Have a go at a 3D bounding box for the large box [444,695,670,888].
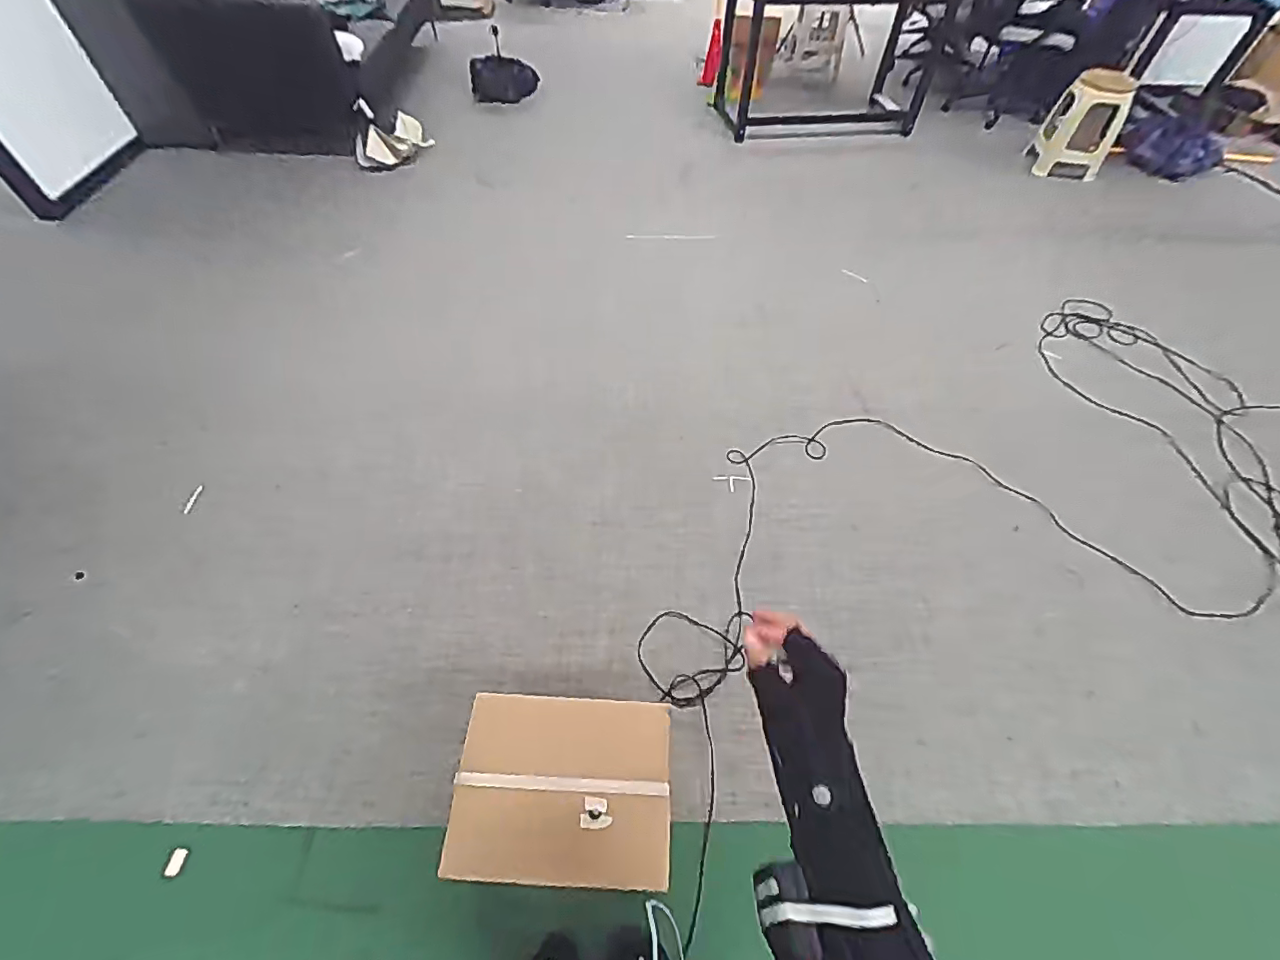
[{"bbox_3d":[-0.149,0.665,1.148,0.408,0.320,0.320,3,55,0],"label":"large box"}]
